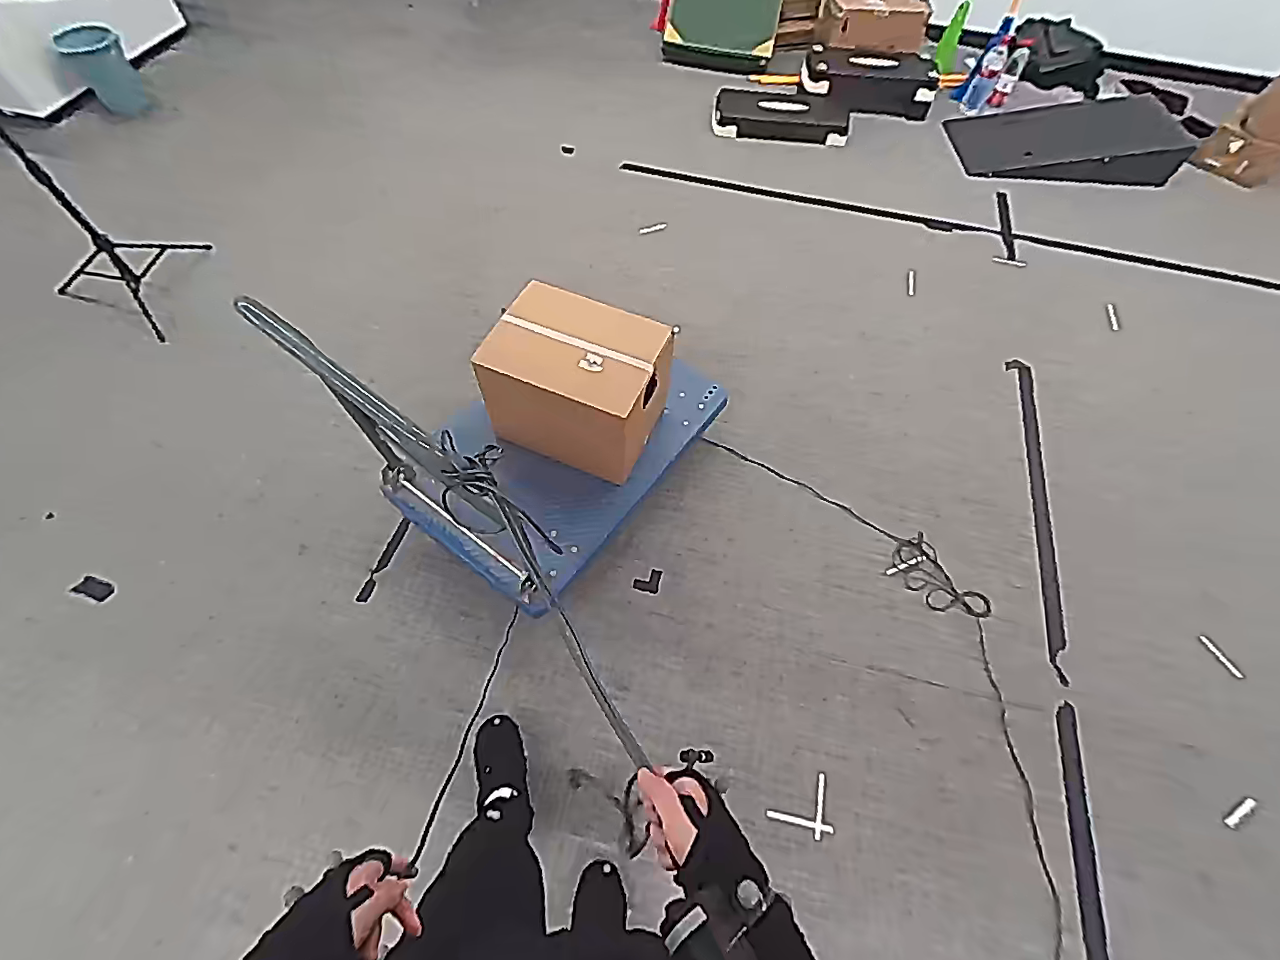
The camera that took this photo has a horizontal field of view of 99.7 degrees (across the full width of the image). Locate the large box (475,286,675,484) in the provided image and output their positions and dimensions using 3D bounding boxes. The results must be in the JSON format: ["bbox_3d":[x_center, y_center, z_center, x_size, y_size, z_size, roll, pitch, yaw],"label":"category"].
[{"bbox_3d":[-0.160,-0.246,1.435,0.408,0.320,0.320,22,62,8],"label":"large box"}]
